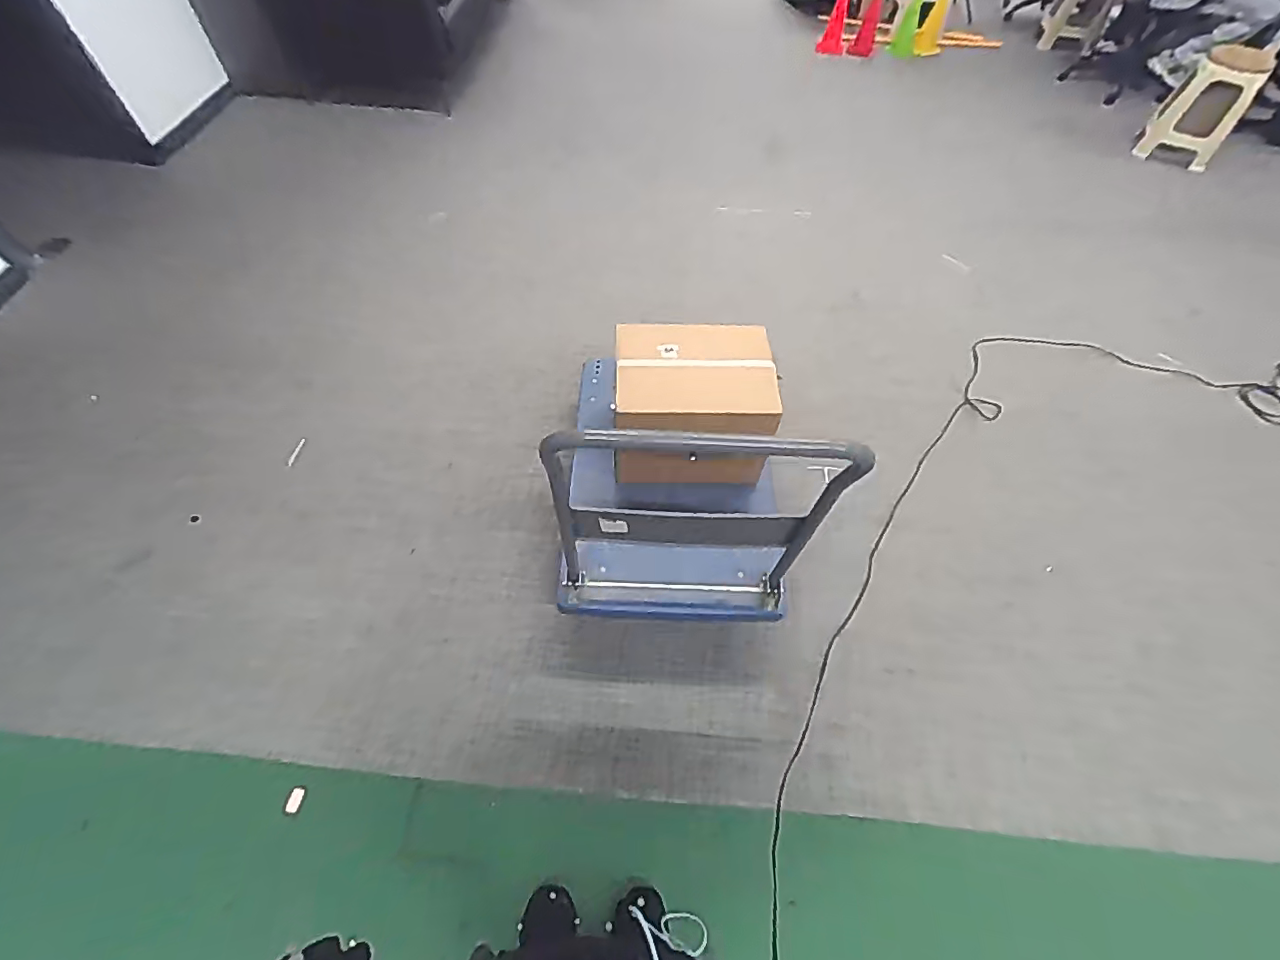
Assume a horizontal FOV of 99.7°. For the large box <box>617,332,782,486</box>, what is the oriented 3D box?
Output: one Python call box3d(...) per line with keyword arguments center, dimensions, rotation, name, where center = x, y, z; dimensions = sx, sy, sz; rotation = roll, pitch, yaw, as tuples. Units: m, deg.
box3d(center=(0.140, -0.190, 1.503), dimensions=(0.408, 0.320, 0.320), rotation=(0, 55, -1), name="large box")
